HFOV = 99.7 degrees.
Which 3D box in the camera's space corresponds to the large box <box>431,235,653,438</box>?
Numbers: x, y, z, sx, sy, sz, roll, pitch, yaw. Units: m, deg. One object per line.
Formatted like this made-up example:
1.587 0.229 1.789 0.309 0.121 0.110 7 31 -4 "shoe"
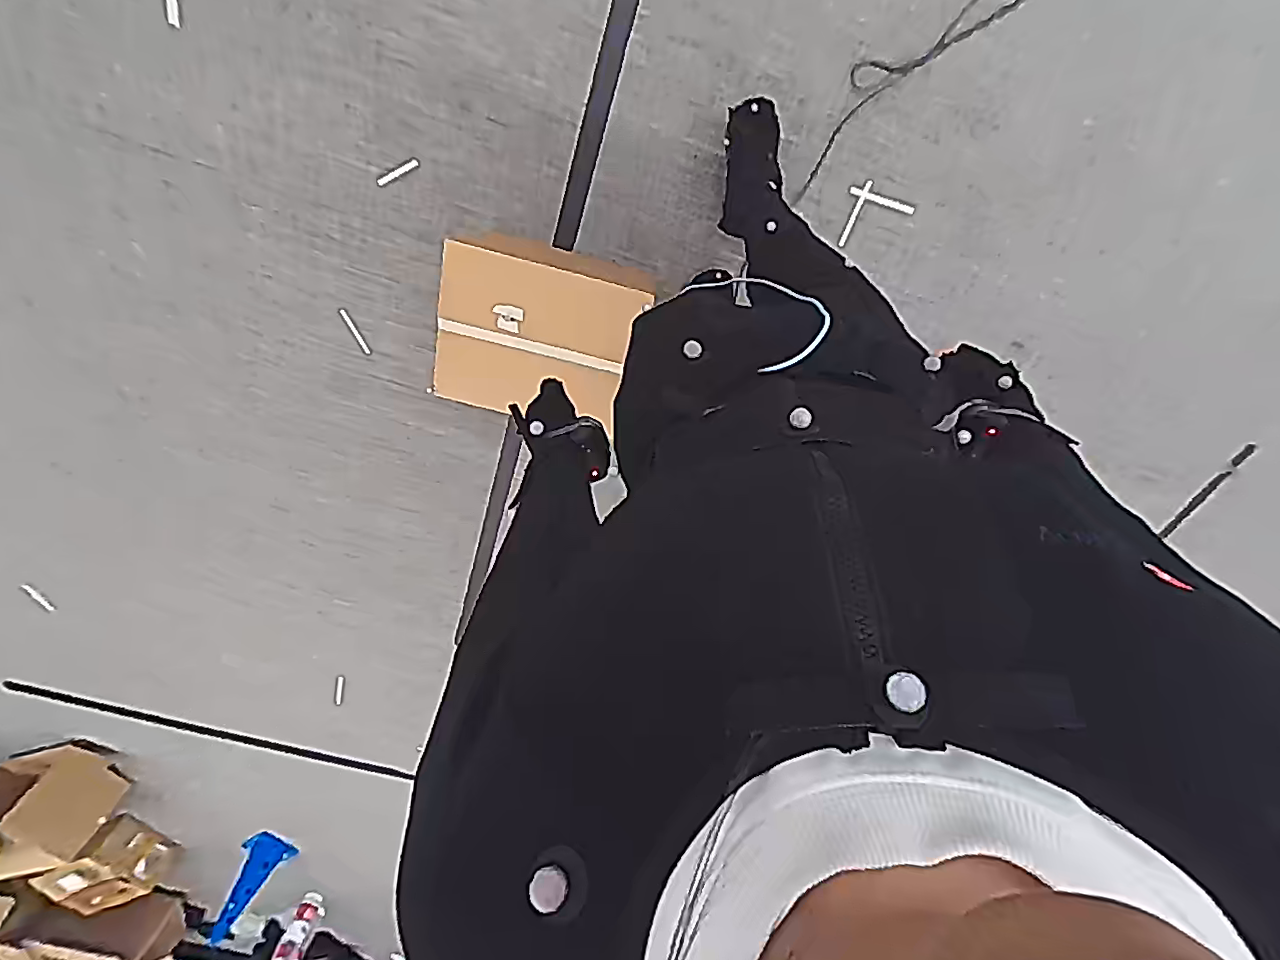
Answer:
-0.201 -0.330 1.208 0.408 0.320 0.320 14 116 -4 "large box"
